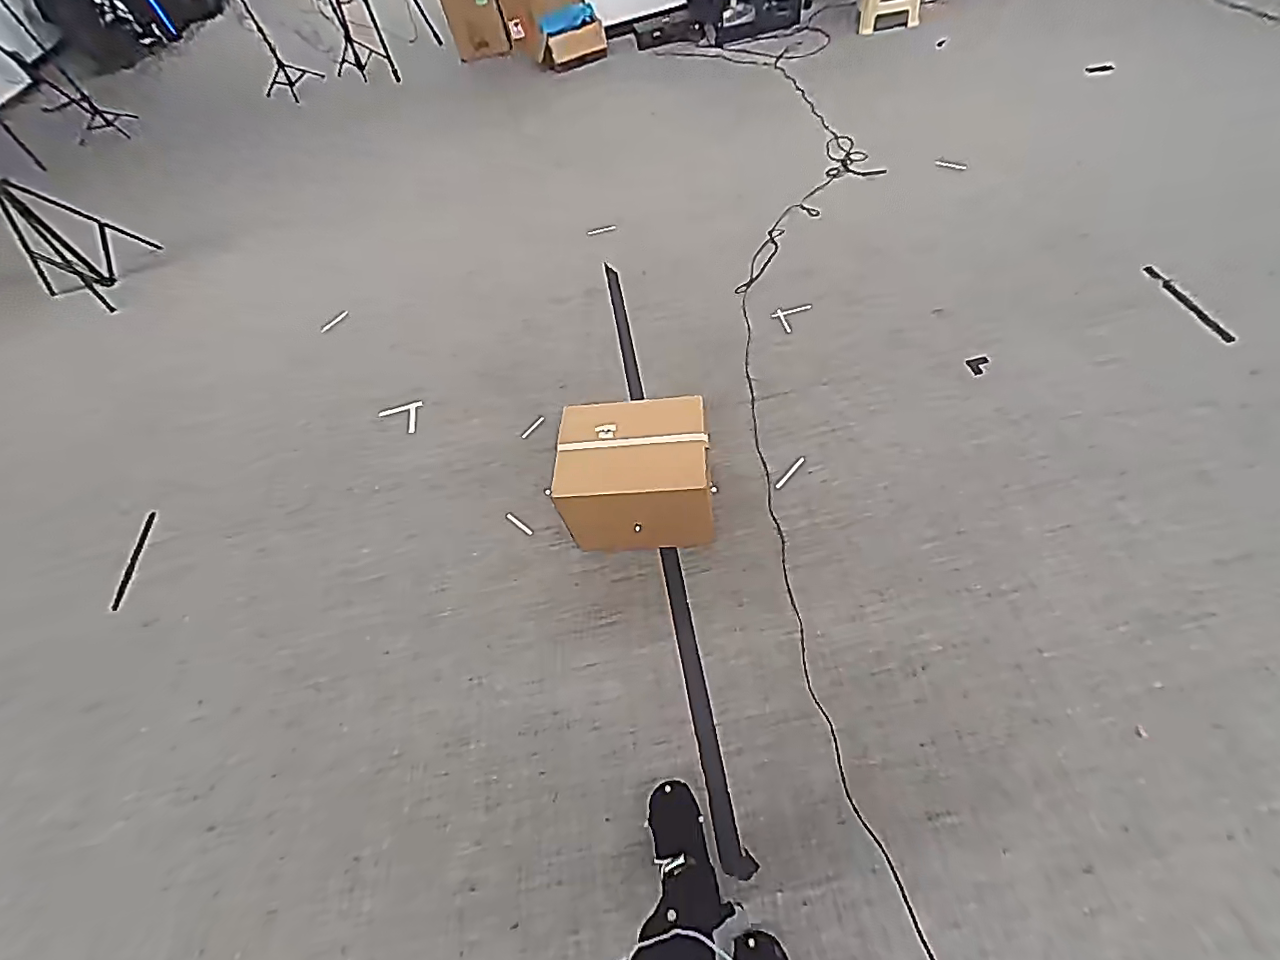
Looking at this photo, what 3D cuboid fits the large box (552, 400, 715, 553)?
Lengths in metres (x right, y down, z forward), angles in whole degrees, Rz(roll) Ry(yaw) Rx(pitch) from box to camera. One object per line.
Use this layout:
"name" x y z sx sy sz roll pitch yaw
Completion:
"large box" -0.001 0.001 1.563 0.408 0.320 0.320 -4 54 10
